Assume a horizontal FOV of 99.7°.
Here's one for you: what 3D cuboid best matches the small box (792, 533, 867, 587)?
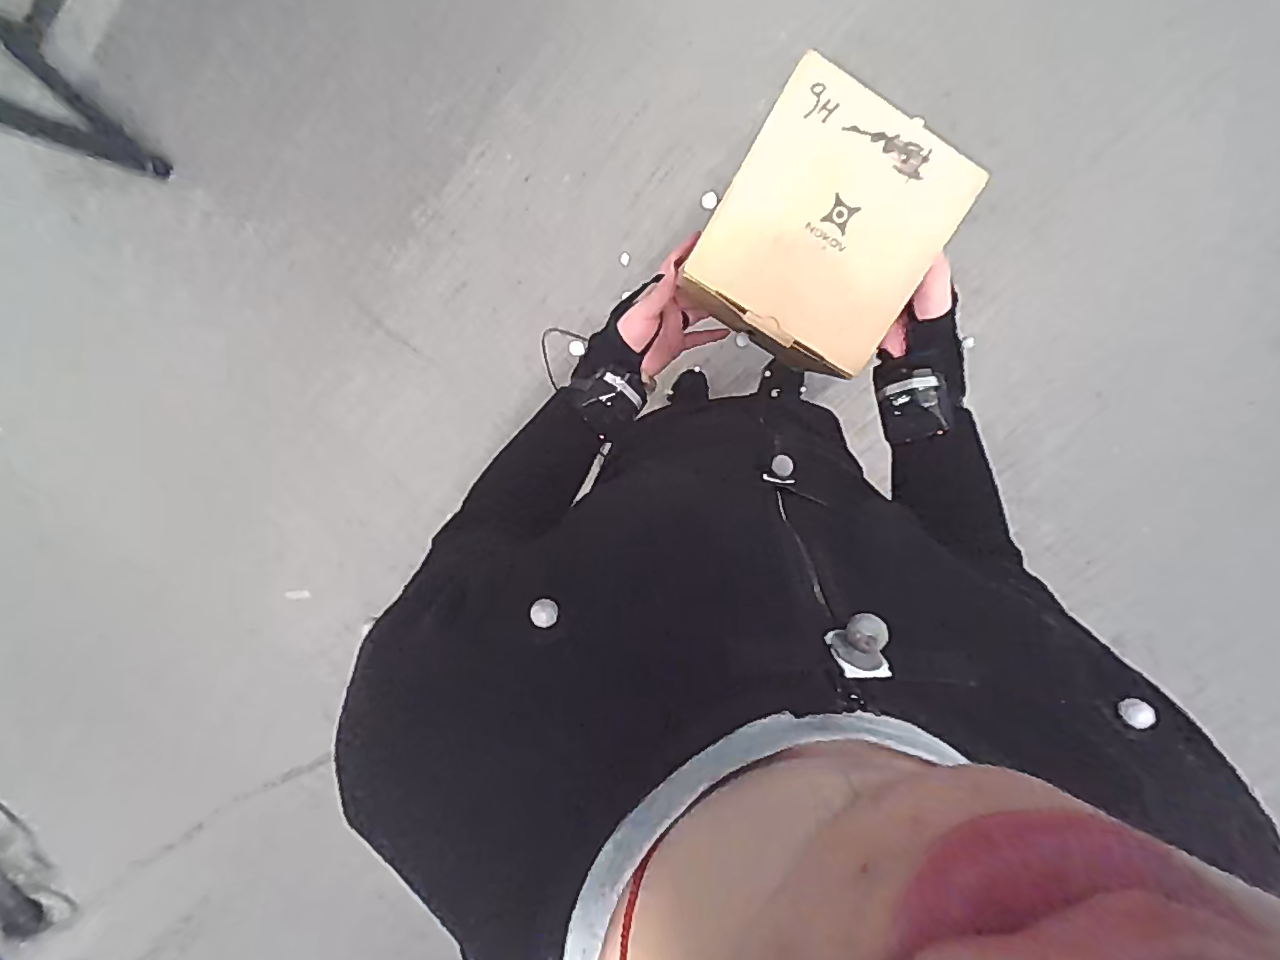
[{"bbox_3d":[0.523,0.251,1.510,0.168,0.176,0.179,-2,103,6],"label":"small box"}]

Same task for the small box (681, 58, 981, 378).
[{"bbox_3d":[0.148,-0.214,0.493,0.168,0.176,0.179,28,103,-7],"label":"small box"}]

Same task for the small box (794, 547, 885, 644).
[{"bbox_3d":[0.489,0.284,1.352,0.168,0.176,0.179,6,102,4],"label":"small box"}]
